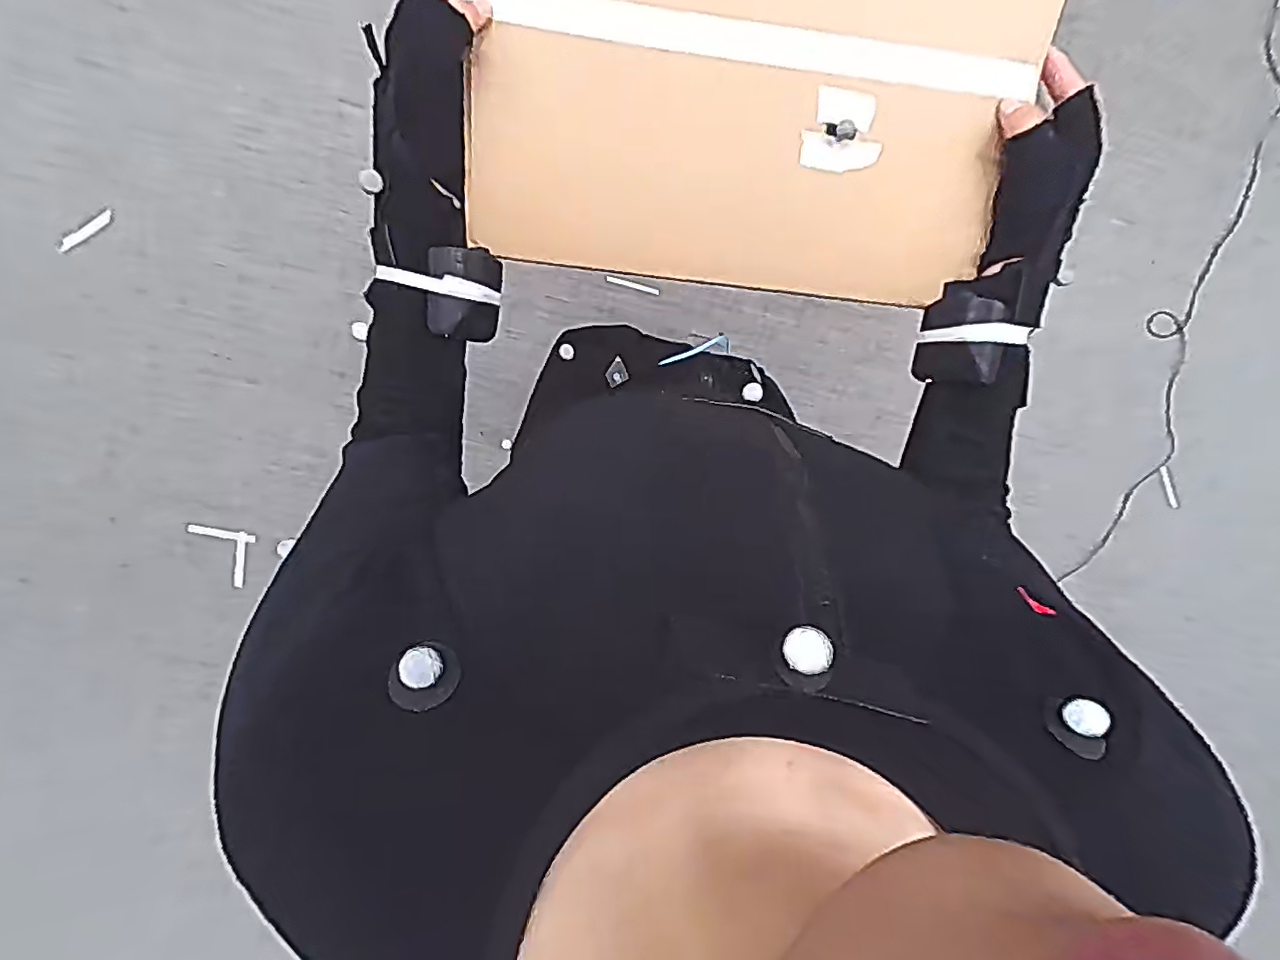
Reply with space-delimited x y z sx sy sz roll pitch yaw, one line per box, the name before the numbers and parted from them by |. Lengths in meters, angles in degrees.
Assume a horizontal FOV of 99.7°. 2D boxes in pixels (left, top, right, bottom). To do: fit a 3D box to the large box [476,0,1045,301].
large box | 0.073 -0.363 0.523 0.408 0.320 0.320 4 113 -6
